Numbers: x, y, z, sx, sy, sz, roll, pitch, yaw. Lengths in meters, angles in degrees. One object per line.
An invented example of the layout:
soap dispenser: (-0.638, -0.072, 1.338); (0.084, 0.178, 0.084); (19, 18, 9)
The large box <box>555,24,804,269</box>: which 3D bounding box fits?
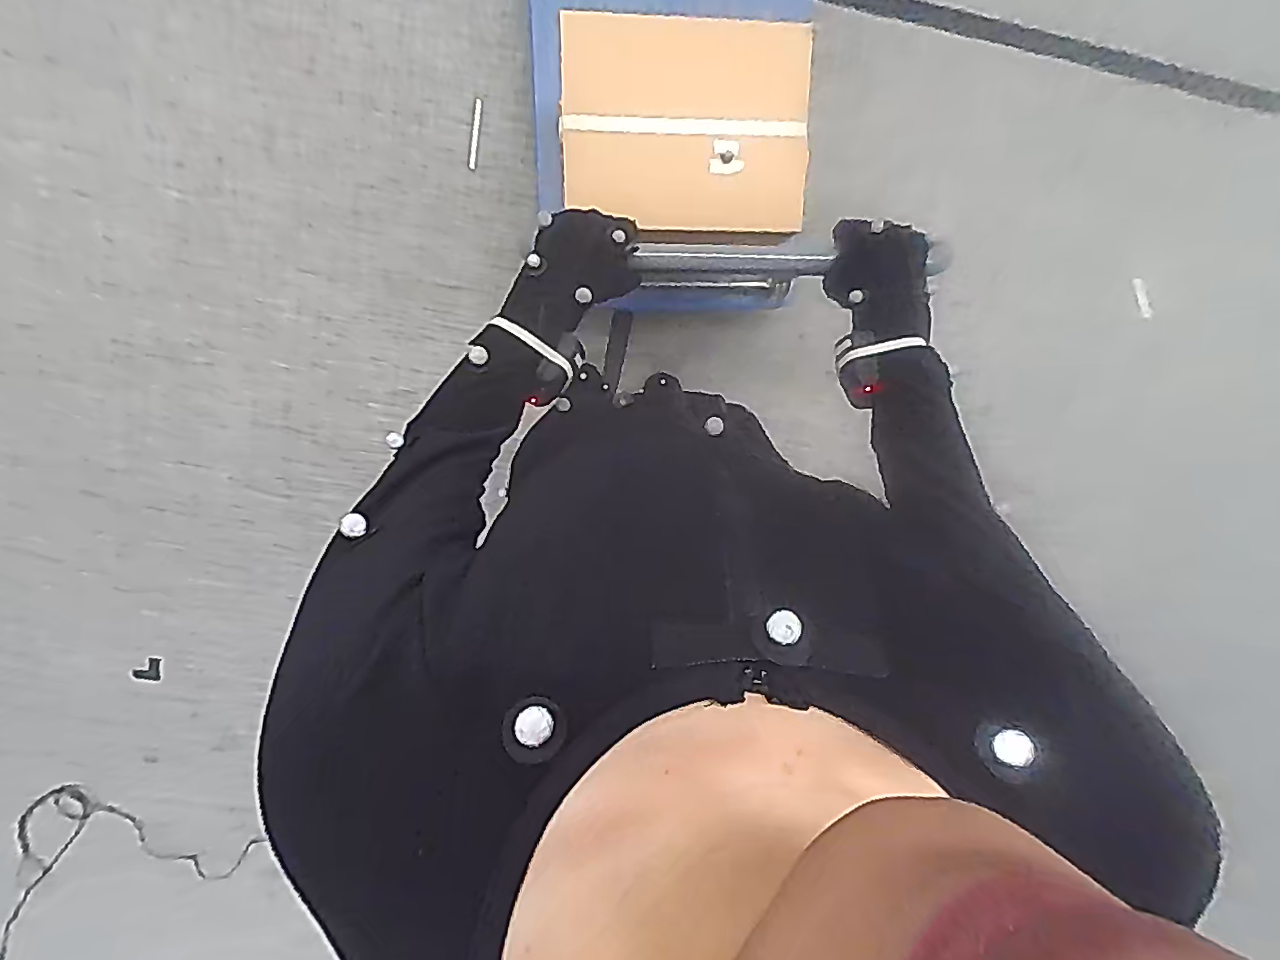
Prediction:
large box: (0.054, -0.591, 1.027); (0.408, 0.320, 0.320); (-1, 103, -5)
